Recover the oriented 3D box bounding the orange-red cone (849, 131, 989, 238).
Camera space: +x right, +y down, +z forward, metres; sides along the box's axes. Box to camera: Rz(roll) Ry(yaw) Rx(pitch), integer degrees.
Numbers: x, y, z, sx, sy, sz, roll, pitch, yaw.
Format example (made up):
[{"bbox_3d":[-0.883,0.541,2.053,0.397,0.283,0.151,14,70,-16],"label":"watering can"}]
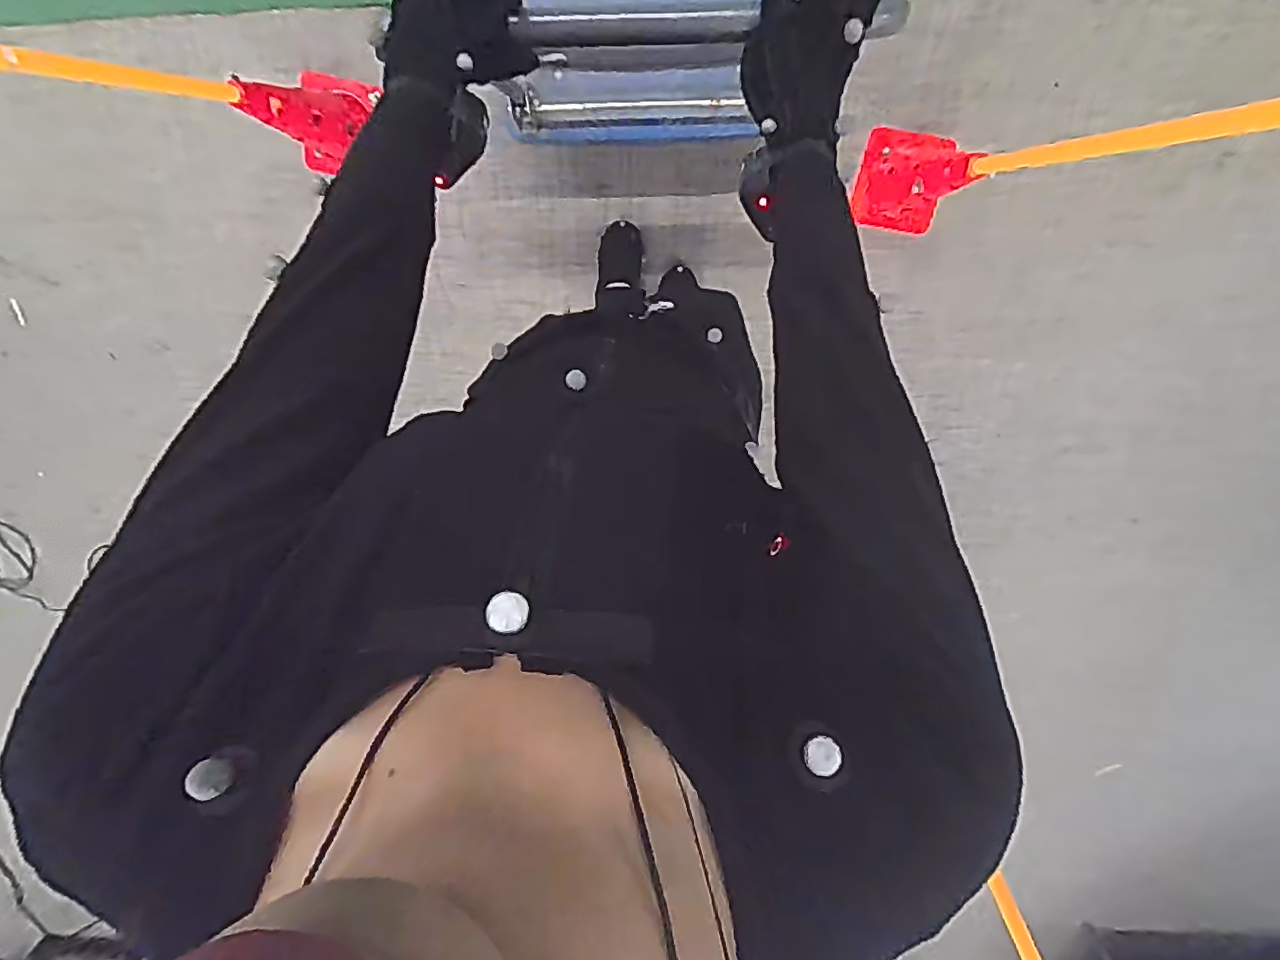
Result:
[{"bbox_3d":[0.593,-0.606,1.090,0.198,0.360,0.199,10,115,-2],"label":"orange-red cone"}]
